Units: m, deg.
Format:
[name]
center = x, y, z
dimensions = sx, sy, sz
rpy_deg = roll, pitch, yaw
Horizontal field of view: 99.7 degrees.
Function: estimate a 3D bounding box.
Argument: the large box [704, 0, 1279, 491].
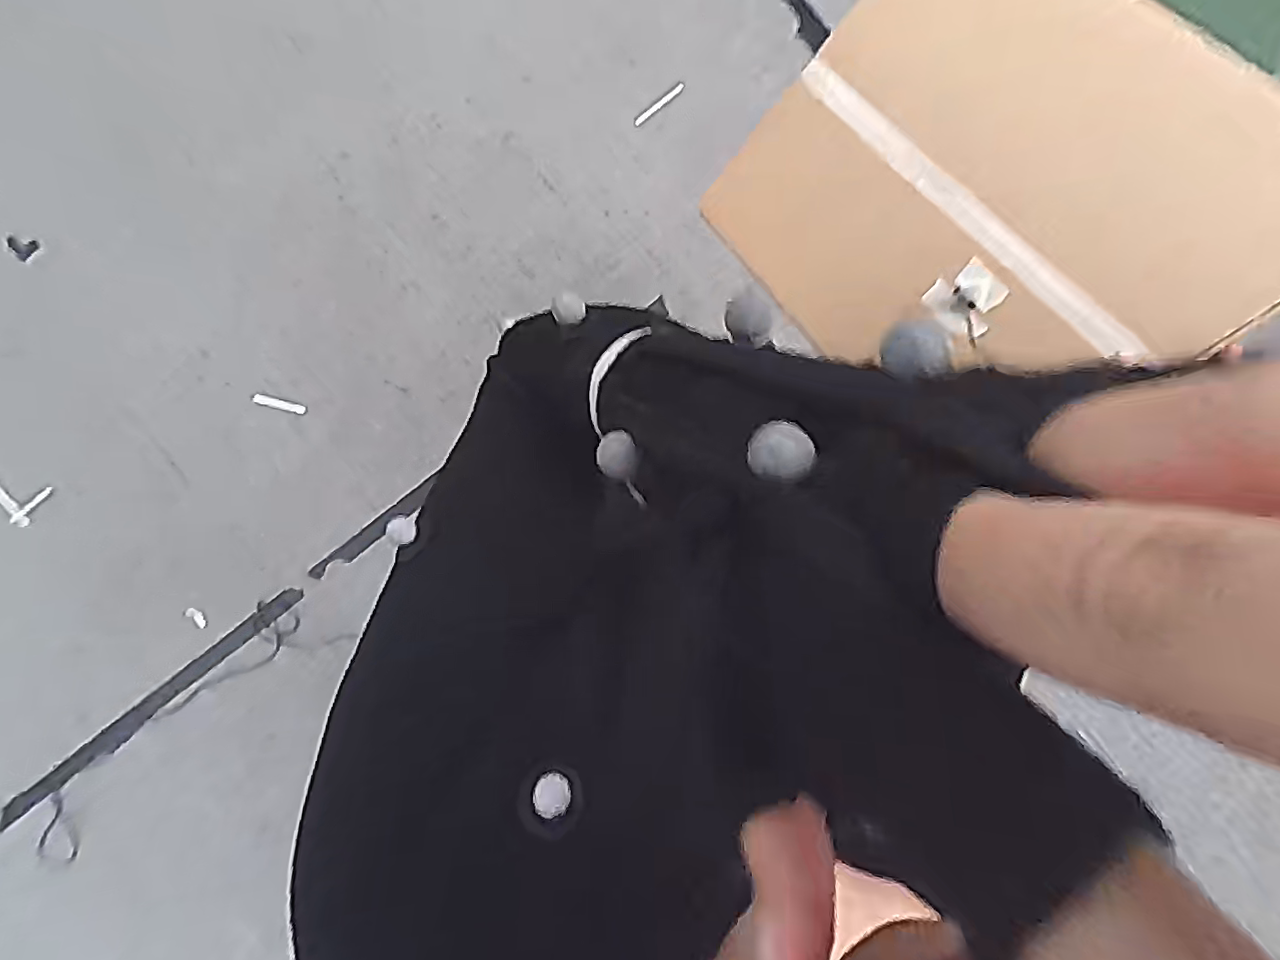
[large box]
center = 0.350, -0.244, 0.583
dimensions = 0.320, 0.320, 0.408
rpy_deg = -43, 71, 29
